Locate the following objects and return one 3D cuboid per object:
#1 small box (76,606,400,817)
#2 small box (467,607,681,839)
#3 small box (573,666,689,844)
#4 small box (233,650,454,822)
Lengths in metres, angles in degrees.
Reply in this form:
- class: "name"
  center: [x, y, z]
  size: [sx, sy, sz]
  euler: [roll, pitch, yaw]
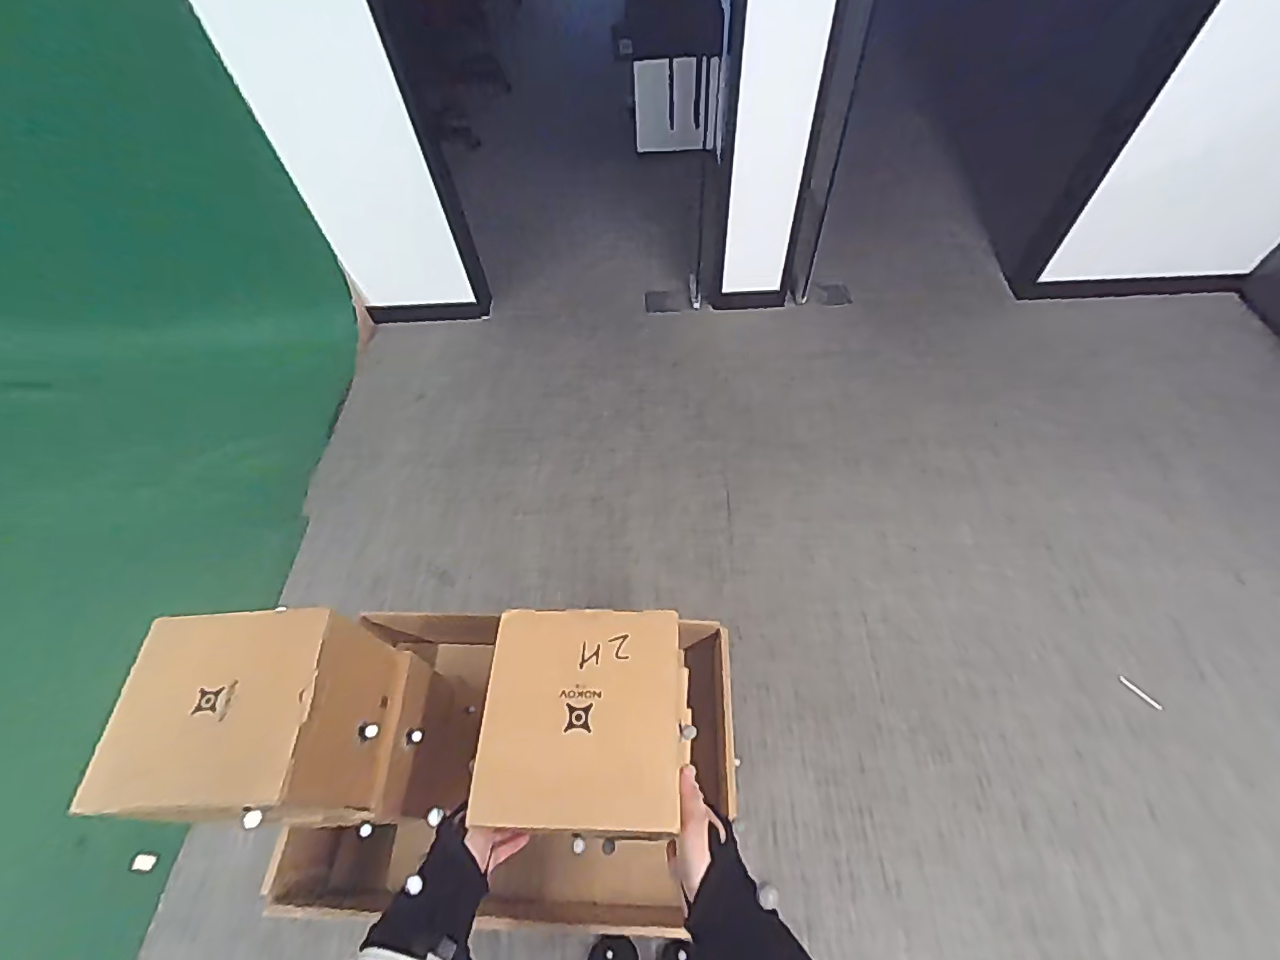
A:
- class: "small box"
  center: [-0.374, 0.239, 0.548]
  size: [0.179, 0.176, 0.168]
  euler: [-3, 57, -1]
- class: "small box"
  center: [-0.044, 0.234, 0.517]
  size: [0.168, 0.176, 0.179]
  euler: [0, 57, 3]
- class: "small box"
  center: [-0.026, 0.329, 0.660]
  size: [0.168, 0.176, 0.179]
  euler: [3, 58, 5]
- class: "small box"
  center: [-0.351, 0.327, 0.683]
  size: [0.168, 0.176, 0.179]
  euler: [-3, 56, 1]
